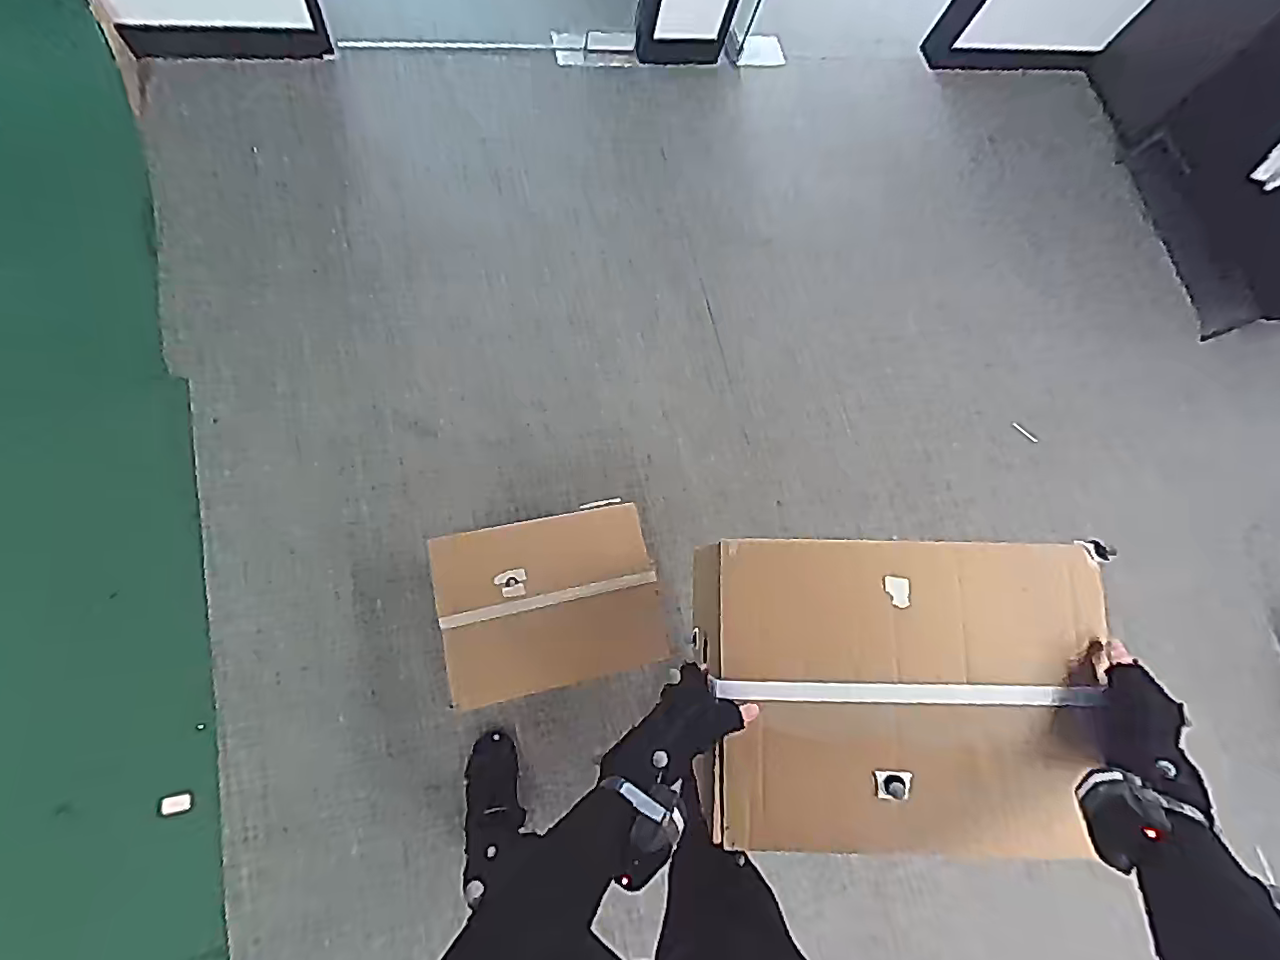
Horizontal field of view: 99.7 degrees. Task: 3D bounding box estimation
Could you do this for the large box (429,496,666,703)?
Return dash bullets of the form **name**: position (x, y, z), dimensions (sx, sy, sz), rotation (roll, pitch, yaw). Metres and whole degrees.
- **large box**: position (-0.199, 0.245, 1.163), dimensions (0.408, 0.320, 0.320), rotation (-10, 78, -14)
